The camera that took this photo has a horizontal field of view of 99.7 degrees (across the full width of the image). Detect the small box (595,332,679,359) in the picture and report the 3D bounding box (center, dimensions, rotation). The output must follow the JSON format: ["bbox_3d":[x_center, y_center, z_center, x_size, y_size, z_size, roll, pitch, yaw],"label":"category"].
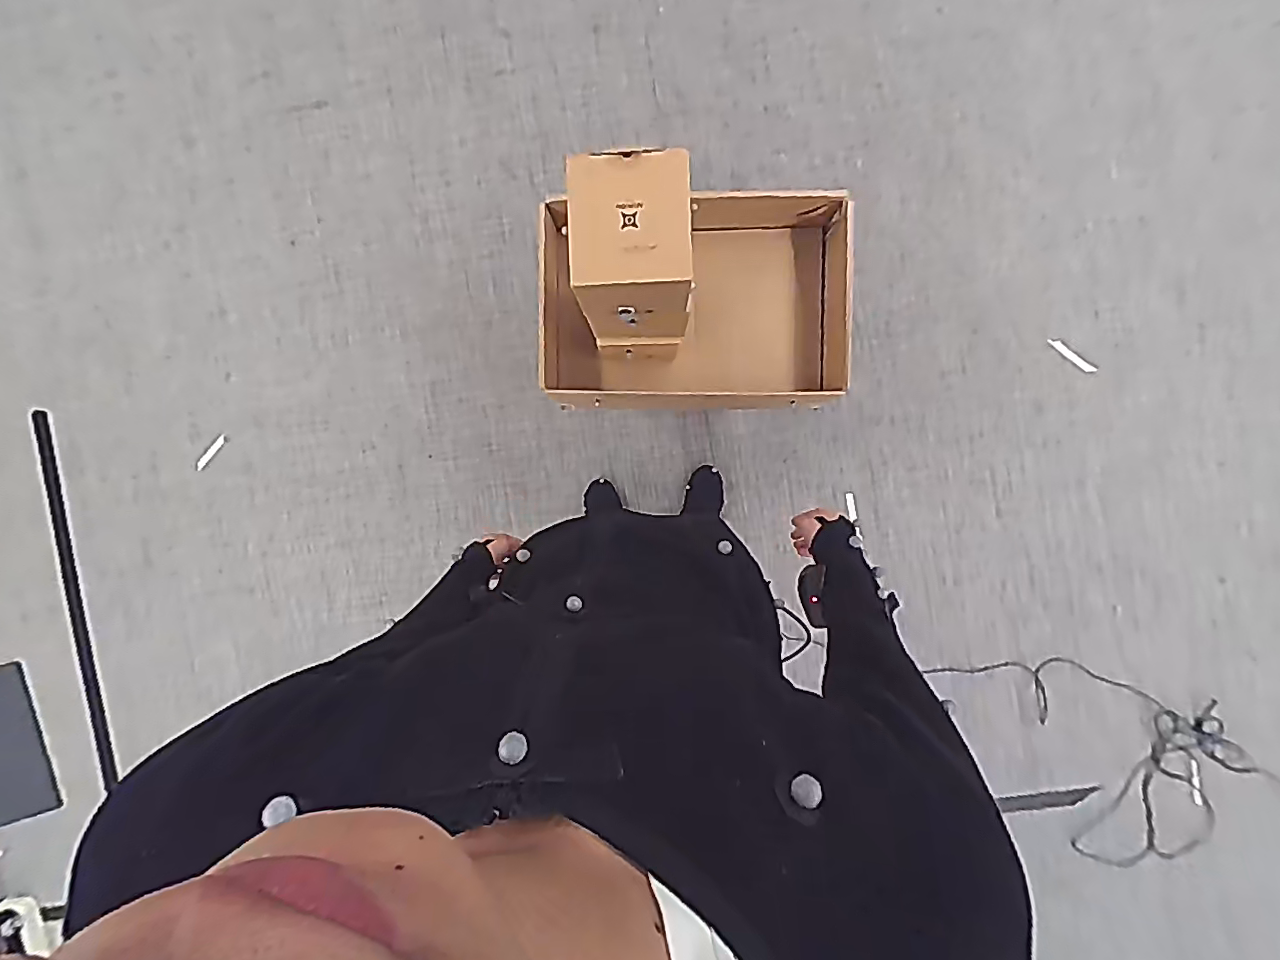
[{"bbox_3d":[-0.003,-0.349,1.115,0.168,0.176,0.179,-1,91,1],"label":"small box"}]

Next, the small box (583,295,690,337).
[{"bbox_3d":[-0.003,-0.352,0.950,0.179,0.176,0.168,0,92,1],"label":"small box"}]

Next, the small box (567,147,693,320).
[{"bbox_3d":[-0.012,-0.346,0.786,0.168,0.176,0.179,-2,91,2],"label":"small box"}]
